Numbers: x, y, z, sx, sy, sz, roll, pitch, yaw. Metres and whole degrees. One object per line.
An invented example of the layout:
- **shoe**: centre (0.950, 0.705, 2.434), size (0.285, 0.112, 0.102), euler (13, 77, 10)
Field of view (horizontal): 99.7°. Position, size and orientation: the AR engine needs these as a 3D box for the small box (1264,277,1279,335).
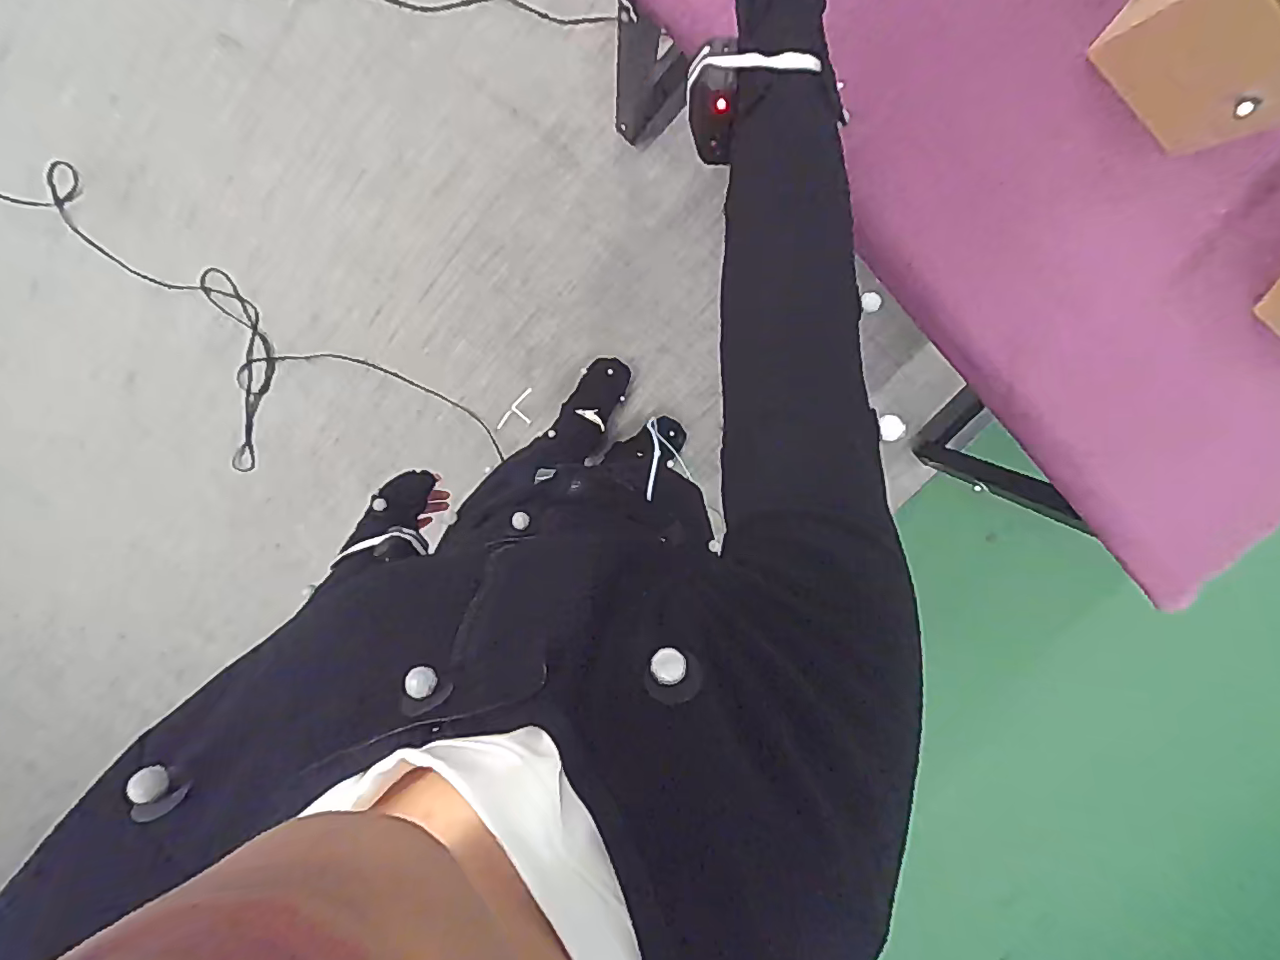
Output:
- **small box**: centre (0.915, -0.225, 0.632), size (0.168, 0.176, 0.179), euler (32, 101, -11)
